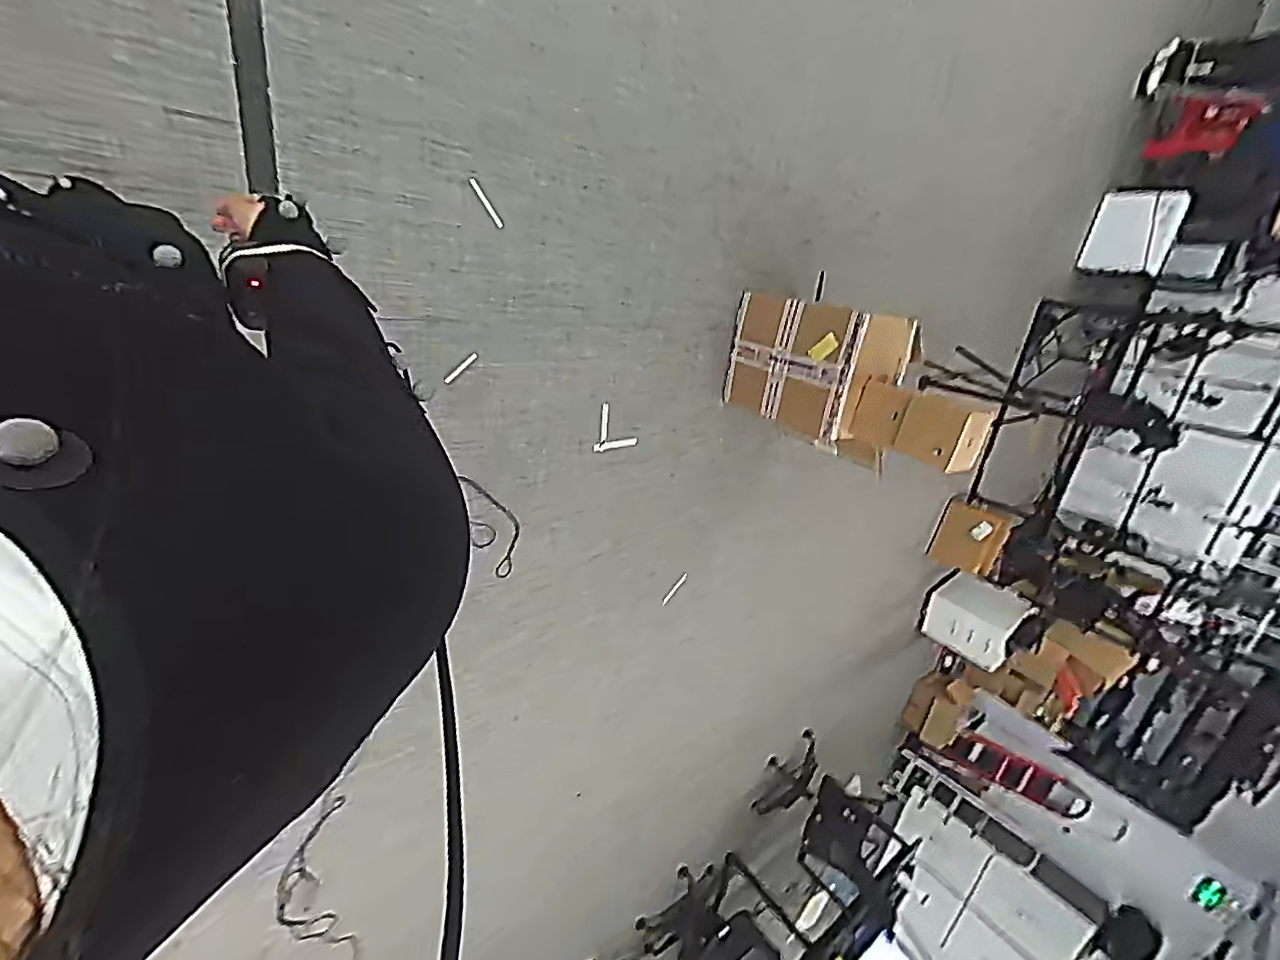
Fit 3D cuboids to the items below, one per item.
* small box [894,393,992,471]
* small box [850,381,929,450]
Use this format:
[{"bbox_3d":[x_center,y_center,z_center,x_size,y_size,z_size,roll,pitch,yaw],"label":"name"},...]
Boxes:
[{"bbox_3d":[0.867,-0.141,1.564,0.168,0.176,0.179,-6,117,-37],"label":"small box"},{"bbox_3d":[0.791,-0.204,1.698,0.168,0.176,0.179,-2,115,-38],"label":"small box"}]
